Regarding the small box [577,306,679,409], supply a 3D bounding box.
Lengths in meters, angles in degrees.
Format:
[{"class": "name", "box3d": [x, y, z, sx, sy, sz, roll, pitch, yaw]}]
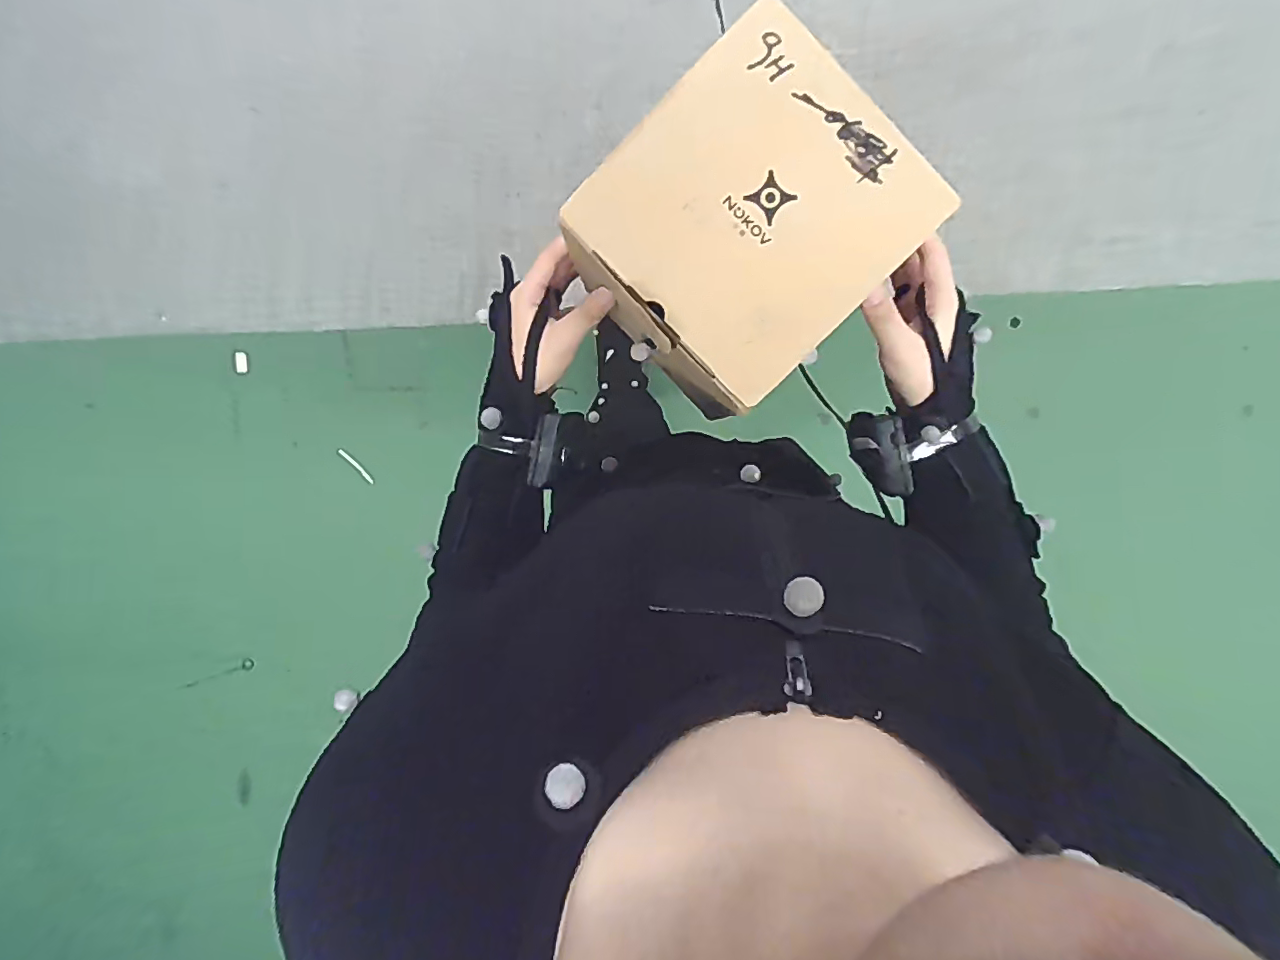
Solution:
[{"class": "small box", "box3d": [-0.028, -0.282, 1.249, 0.179, 0.176, 0.168, 37, 105, 0]}]
